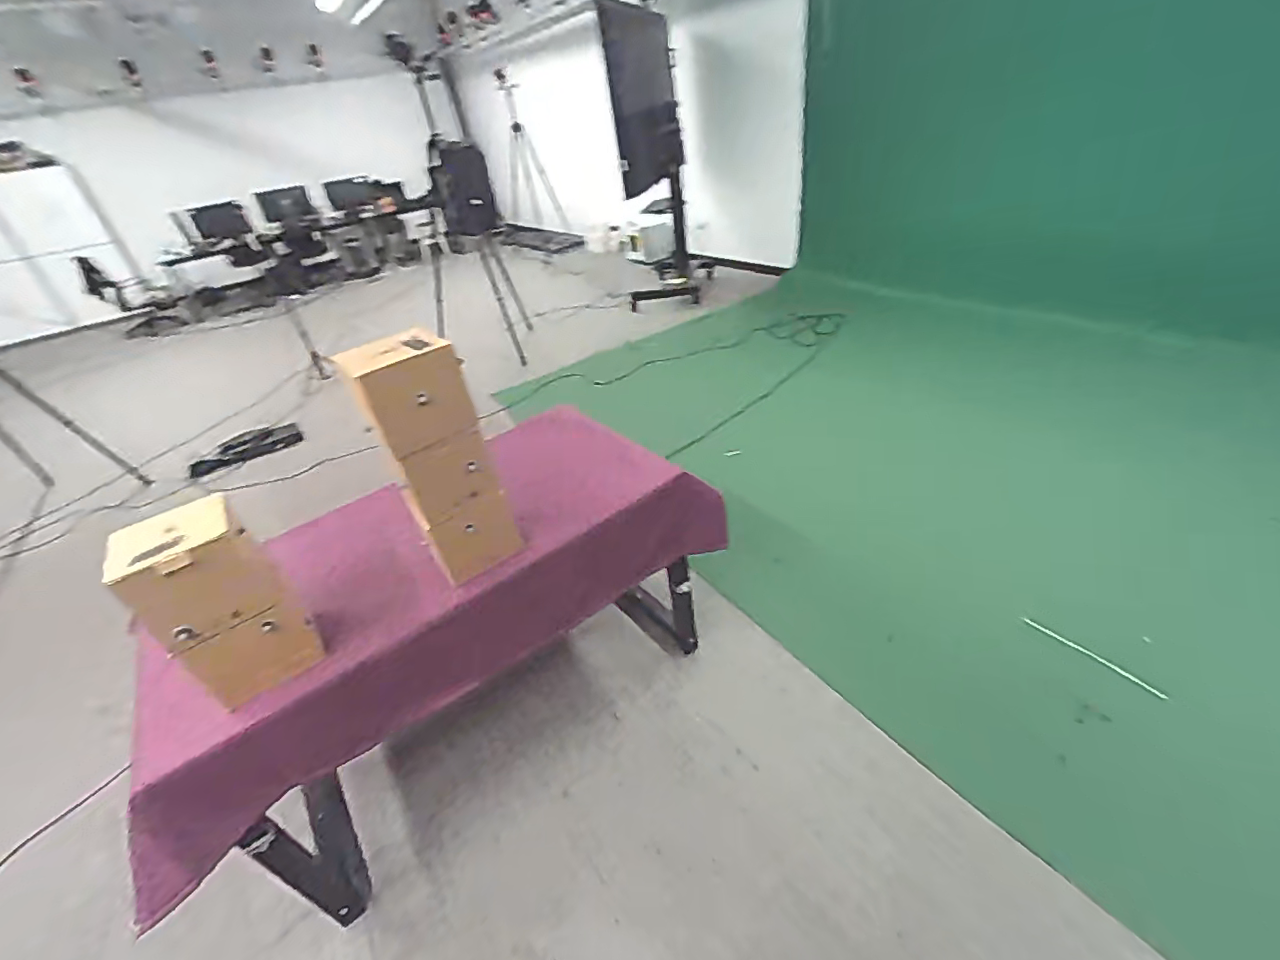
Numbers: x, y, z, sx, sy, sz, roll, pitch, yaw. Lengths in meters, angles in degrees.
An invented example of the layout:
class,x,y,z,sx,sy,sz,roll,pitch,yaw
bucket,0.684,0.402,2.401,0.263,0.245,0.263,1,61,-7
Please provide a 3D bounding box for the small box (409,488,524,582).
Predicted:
class,x,y,z,sx,sy,sz,roll,pitch,yaw
small box,-0.384,0.097,1.212,0.179,0.176,0.168,-28,39,-24

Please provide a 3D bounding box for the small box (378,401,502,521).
class,x,y,z,sx,sy,sz,roll,pitch,yaw
small box,-0.410,-0.038,1.124,0.168,0.176,0.179,-29,38,-27

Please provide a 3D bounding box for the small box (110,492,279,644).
class,x,y,z,sx,sy,sz,roll,pitch,yaw
small box,-0.756,0.154,0.935,0.168,0.176,0.179,-28,37,-27

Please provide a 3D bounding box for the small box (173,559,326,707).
class,x,y,z,sx,sy,sz,roll,pitch,yaw
small box,-0.734,0.289,1.025,0.179,0.176,0.168,-28,39,-27
